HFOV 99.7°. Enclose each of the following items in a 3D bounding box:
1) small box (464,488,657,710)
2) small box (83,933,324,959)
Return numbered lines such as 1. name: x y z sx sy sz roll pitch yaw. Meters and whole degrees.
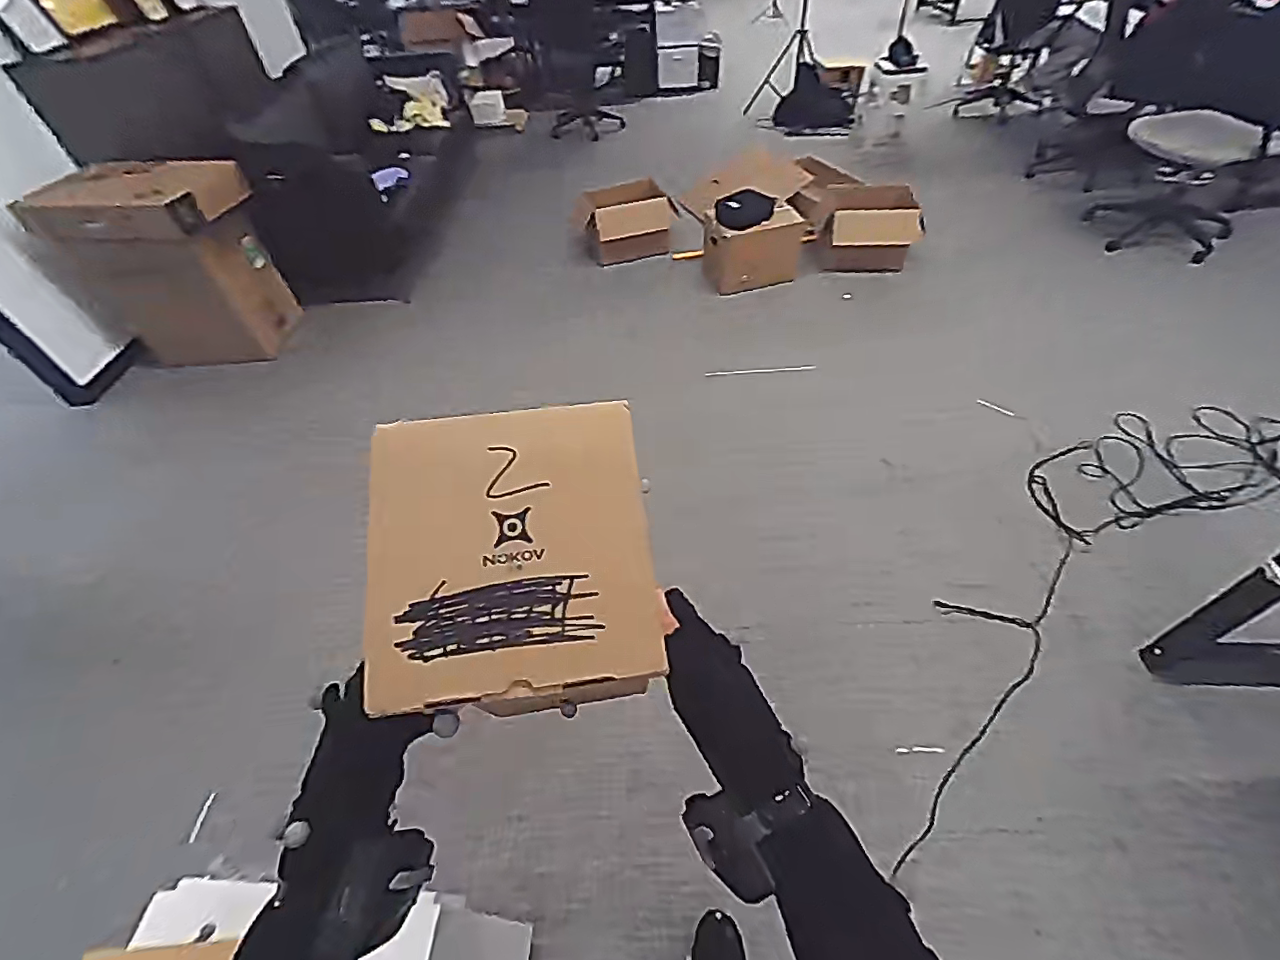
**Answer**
1. small box: -0.078 0.129 0.567 0.168 0.176 0.179 -7 62 -5
2. small box: -0.477 0.592 0.566 0.179 0.176 0.168 -5 48 -1
